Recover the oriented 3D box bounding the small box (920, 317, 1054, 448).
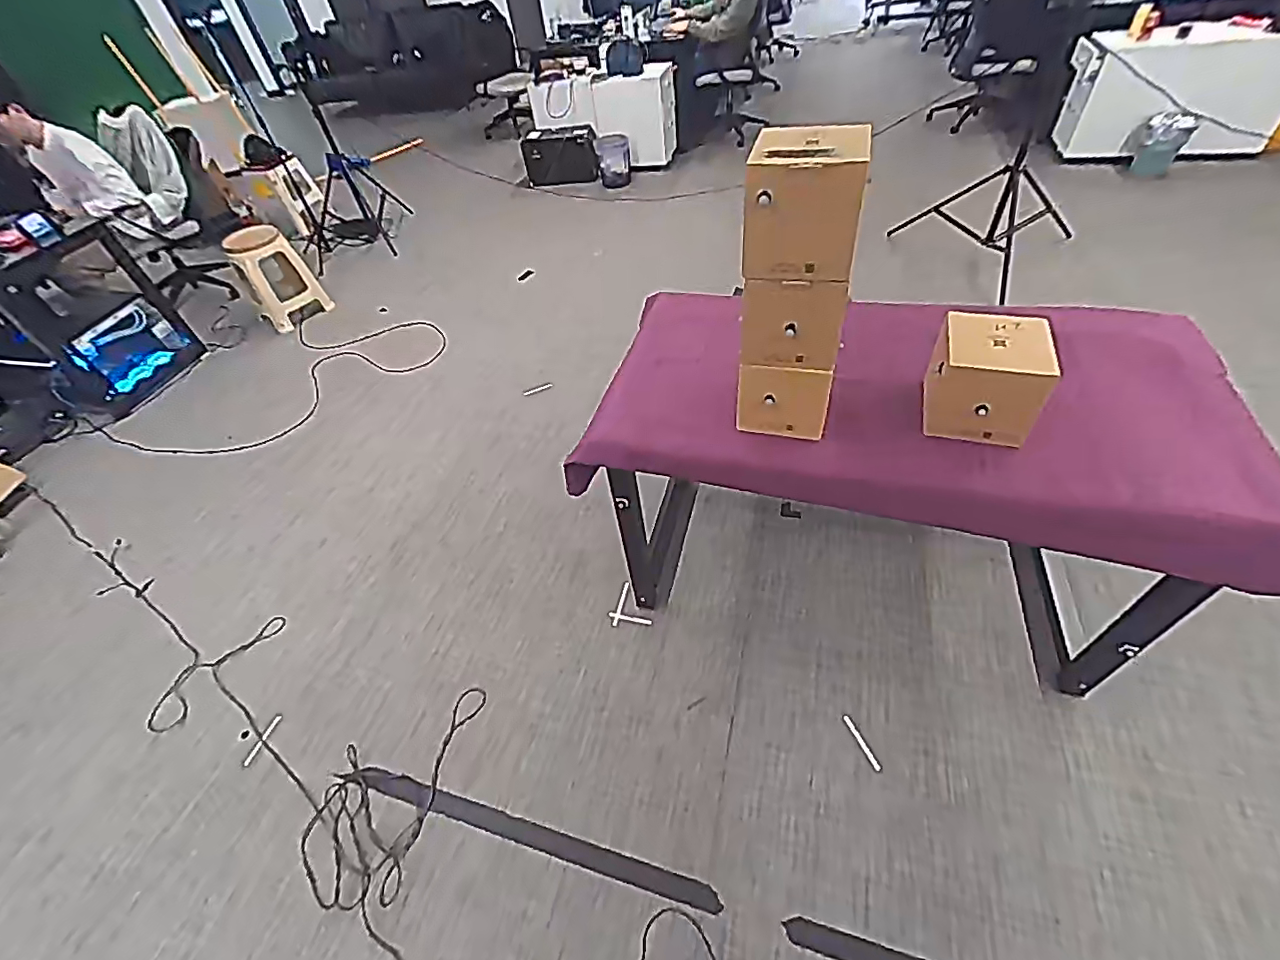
[{"bbox_3d":[0.641,-0.182,1.020,0.168,0.176,0.179,11,50,17],"label":"small box"}]

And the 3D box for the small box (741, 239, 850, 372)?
[{"bbox_3d":[0.276,-0.313,0.971,0.168,0.176,0.179,8,49,14],"label":"small box"}]

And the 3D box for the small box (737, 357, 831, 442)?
[{"bbox_3d":[0.293,-0.198,1.087,0.168,0.176,0.179,9,49,16],"label":"small box"}]
